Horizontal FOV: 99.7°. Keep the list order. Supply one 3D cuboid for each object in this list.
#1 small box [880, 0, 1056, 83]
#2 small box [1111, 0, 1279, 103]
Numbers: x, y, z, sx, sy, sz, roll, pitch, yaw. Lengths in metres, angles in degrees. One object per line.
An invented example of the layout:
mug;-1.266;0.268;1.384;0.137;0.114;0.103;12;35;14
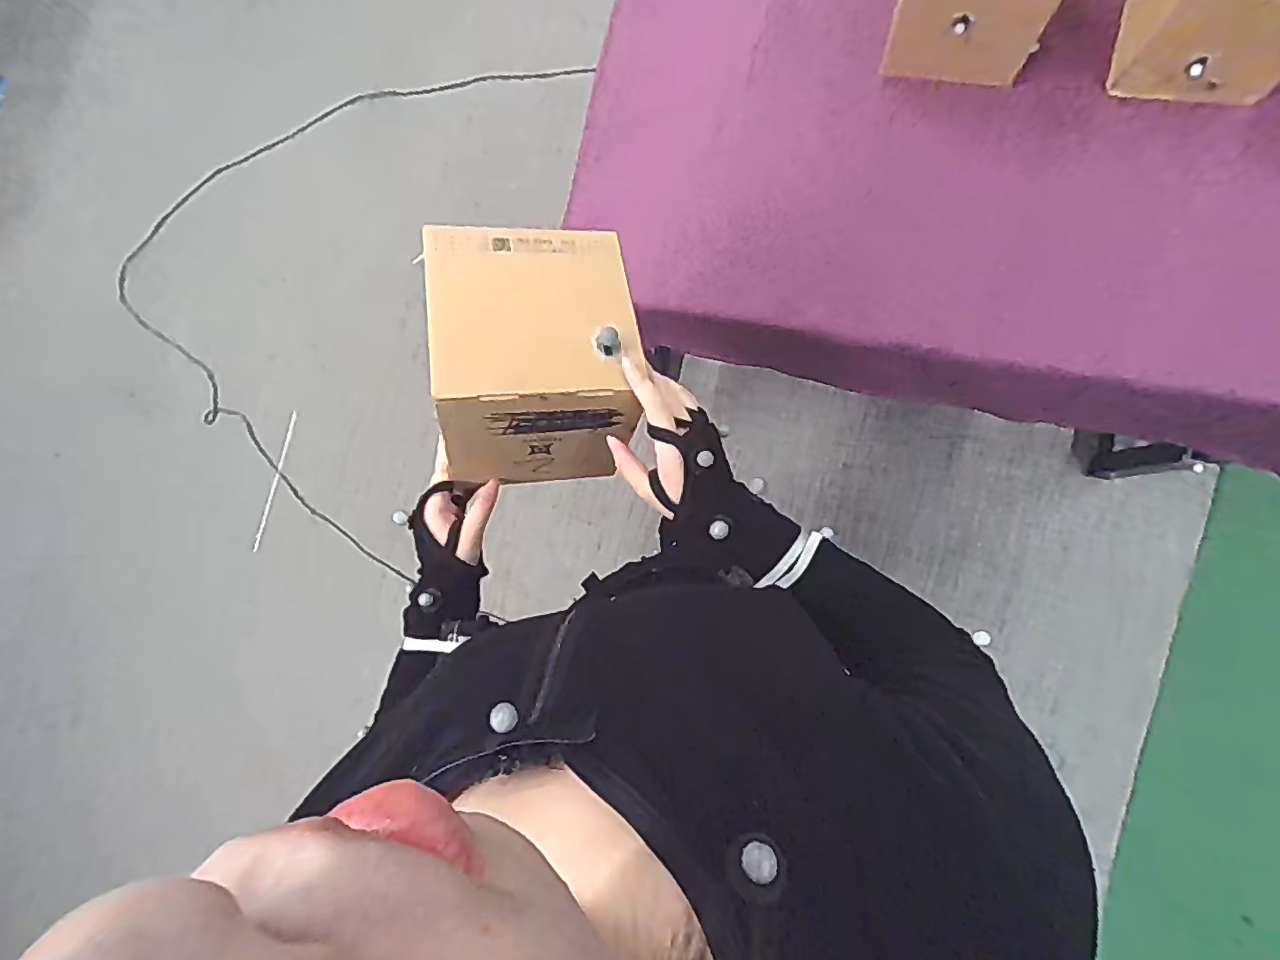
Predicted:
small box;0.428;-0.645;0.682;0.179;0.176;0.168;15;89;13
small box;0.697;-0.584;0.623;0.168;0.176;0.179;13;90;13
